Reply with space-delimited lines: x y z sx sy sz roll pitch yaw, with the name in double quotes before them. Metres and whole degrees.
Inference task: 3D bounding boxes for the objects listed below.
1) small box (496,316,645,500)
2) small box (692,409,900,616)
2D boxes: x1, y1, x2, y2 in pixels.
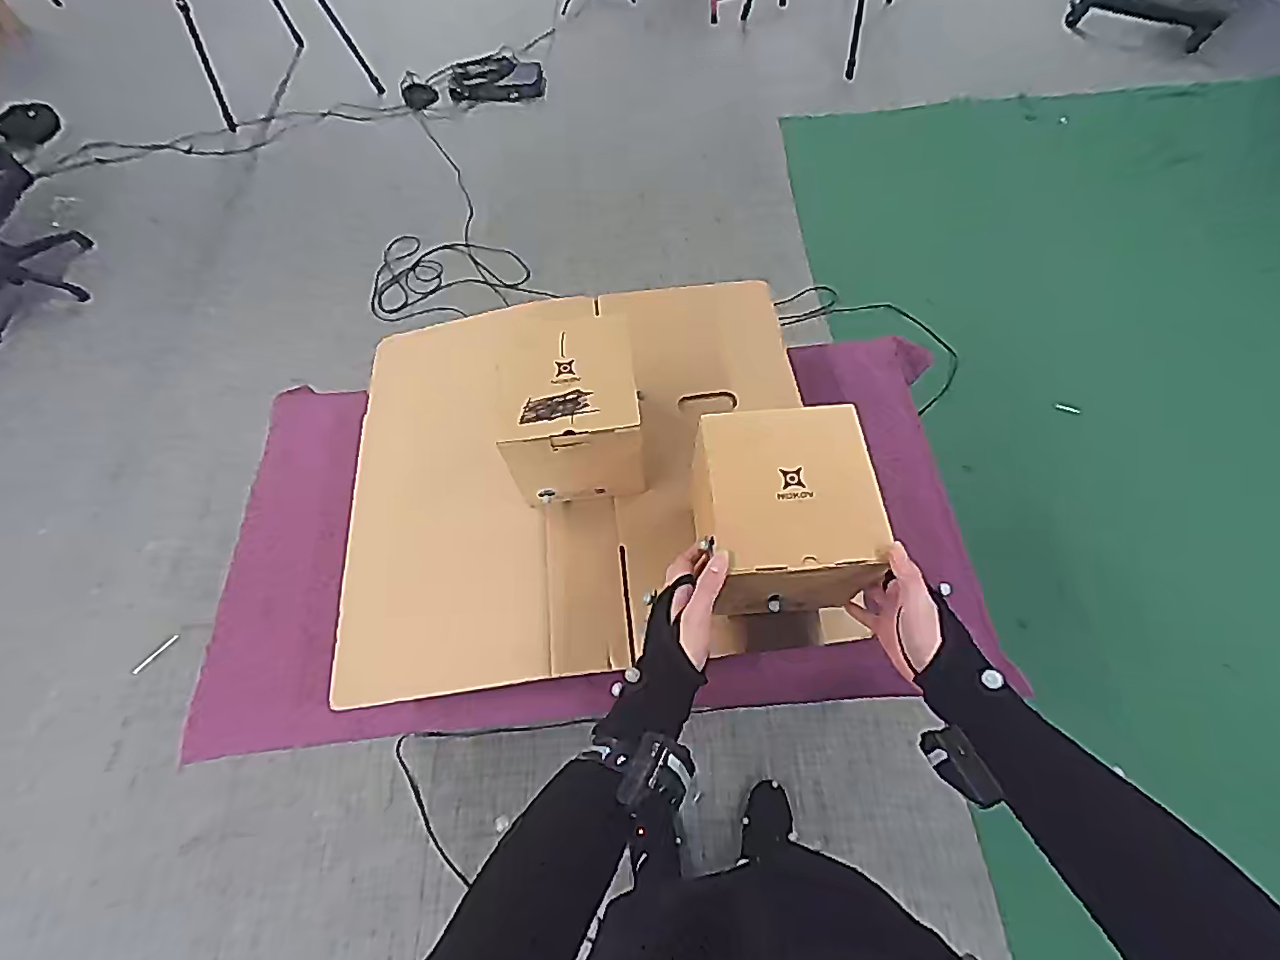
"small box" -0.084 -0.084 0.706 0.168 0.176 0.179 -7 62 -2
"small box" 0.153 0.042 0.602 0.168 0.176 0.179 -4 64 -1
